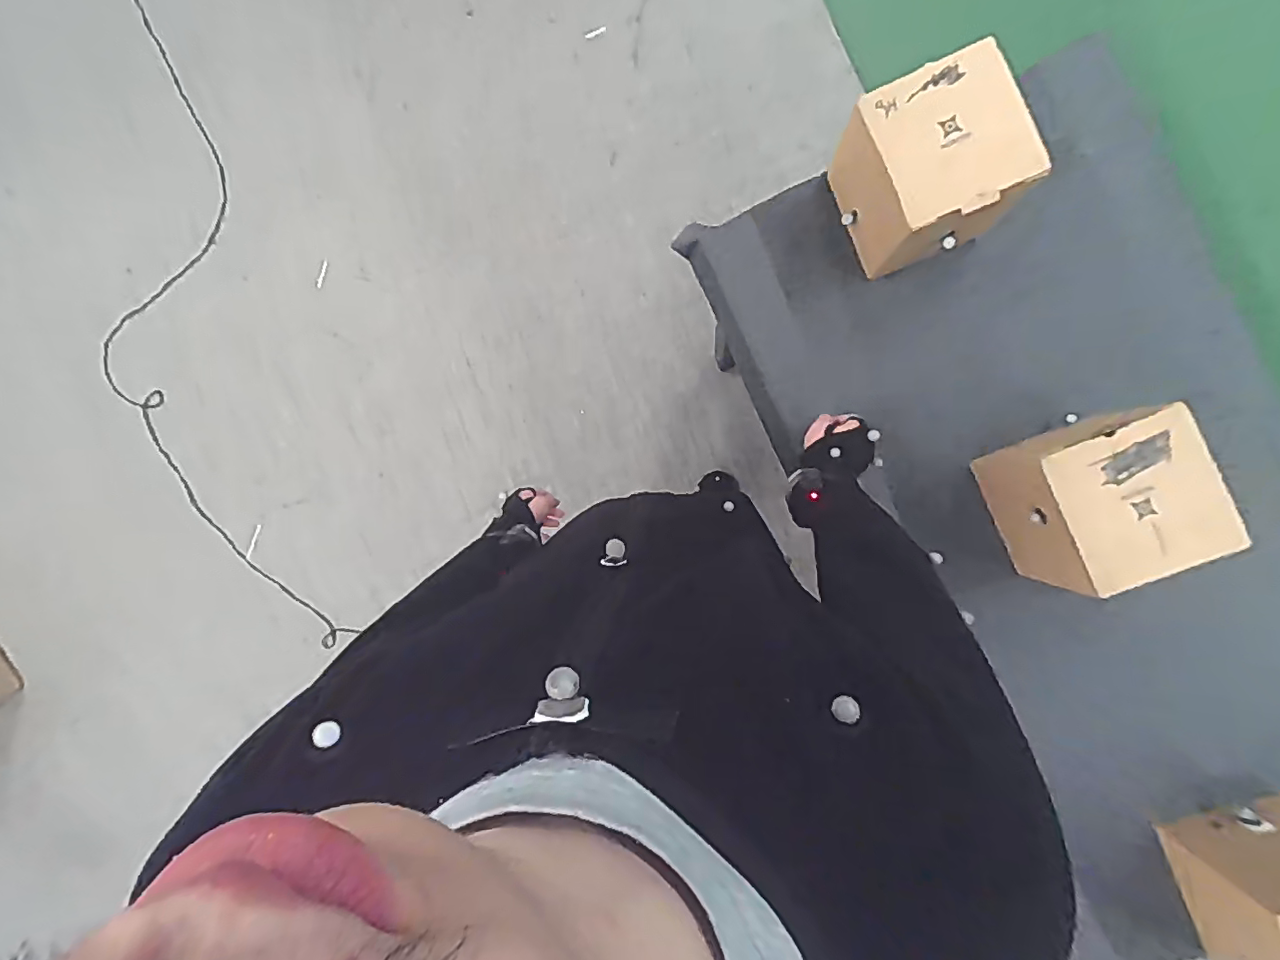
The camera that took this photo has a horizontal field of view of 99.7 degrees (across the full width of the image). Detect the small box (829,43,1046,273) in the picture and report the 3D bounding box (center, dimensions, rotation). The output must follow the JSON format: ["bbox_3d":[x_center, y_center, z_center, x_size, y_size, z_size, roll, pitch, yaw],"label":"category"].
[{"bbox_3d":[0.368,-0.395,0.705,0.168,0.176,0.179,-21,88,7],"label":"small box"}]

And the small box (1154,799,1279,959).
[{"bbox_3d":[0.792,0.530,0.646,0.168,0.176,0.179,-21,86,6],"label":"small box"}]

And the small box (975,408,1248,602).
[{"bbox_3d":[0.565,0.029,0.678,0.168,0.176,0.179,-22,88,7],"label":"small box"}]
